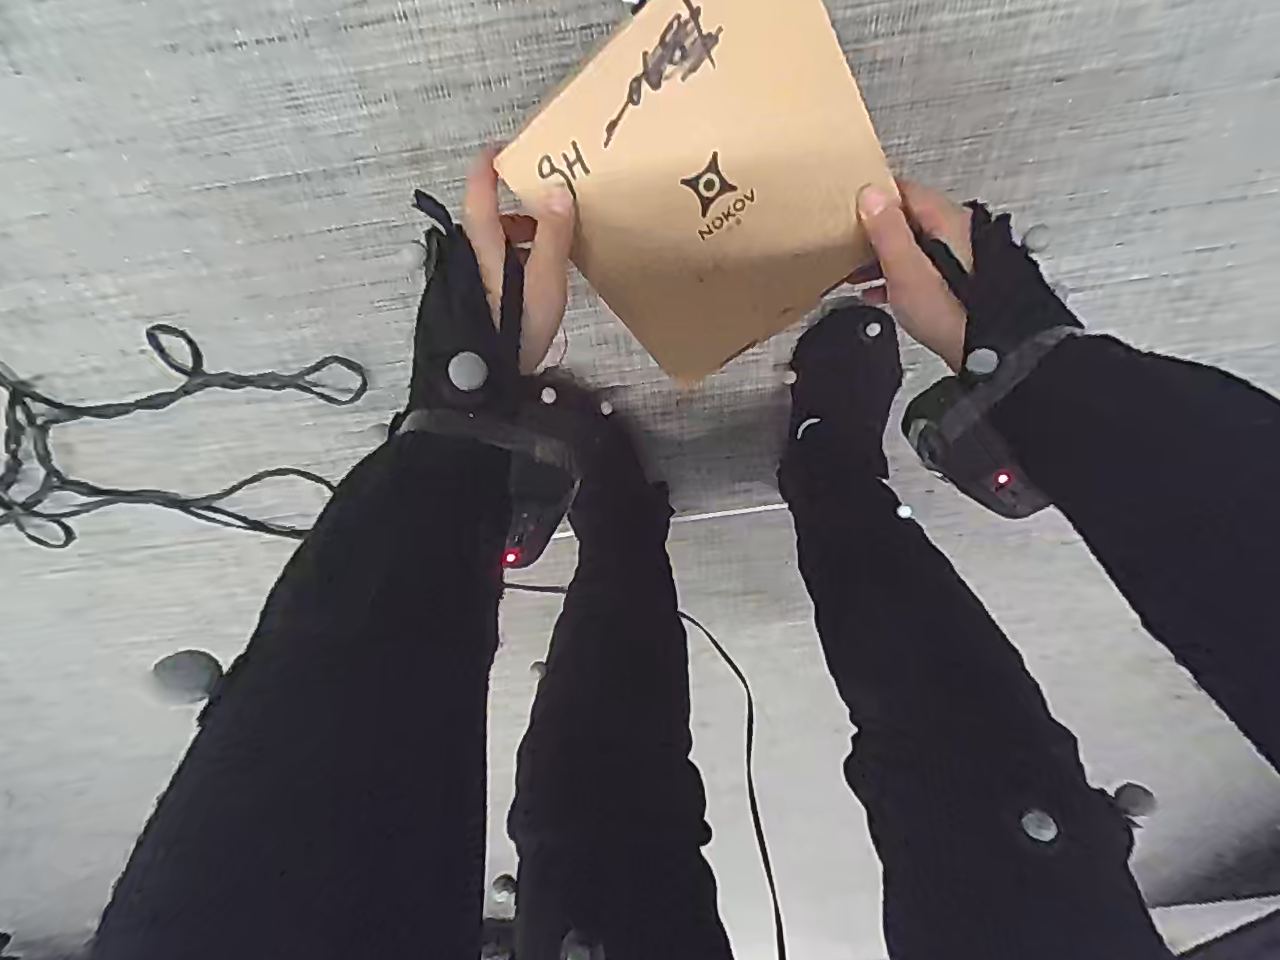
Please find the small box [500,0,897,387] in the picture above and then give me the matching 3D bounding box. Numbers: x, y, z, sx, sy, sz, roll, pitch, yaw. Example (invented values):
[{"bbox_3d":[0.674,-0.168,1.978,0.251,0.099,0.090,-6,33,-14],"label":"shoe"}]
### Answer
[{"bbox_3d":[0.034,-0.204,0.366,0.168,0.176,0.179,-33,124,19],"label":"small box"}]
